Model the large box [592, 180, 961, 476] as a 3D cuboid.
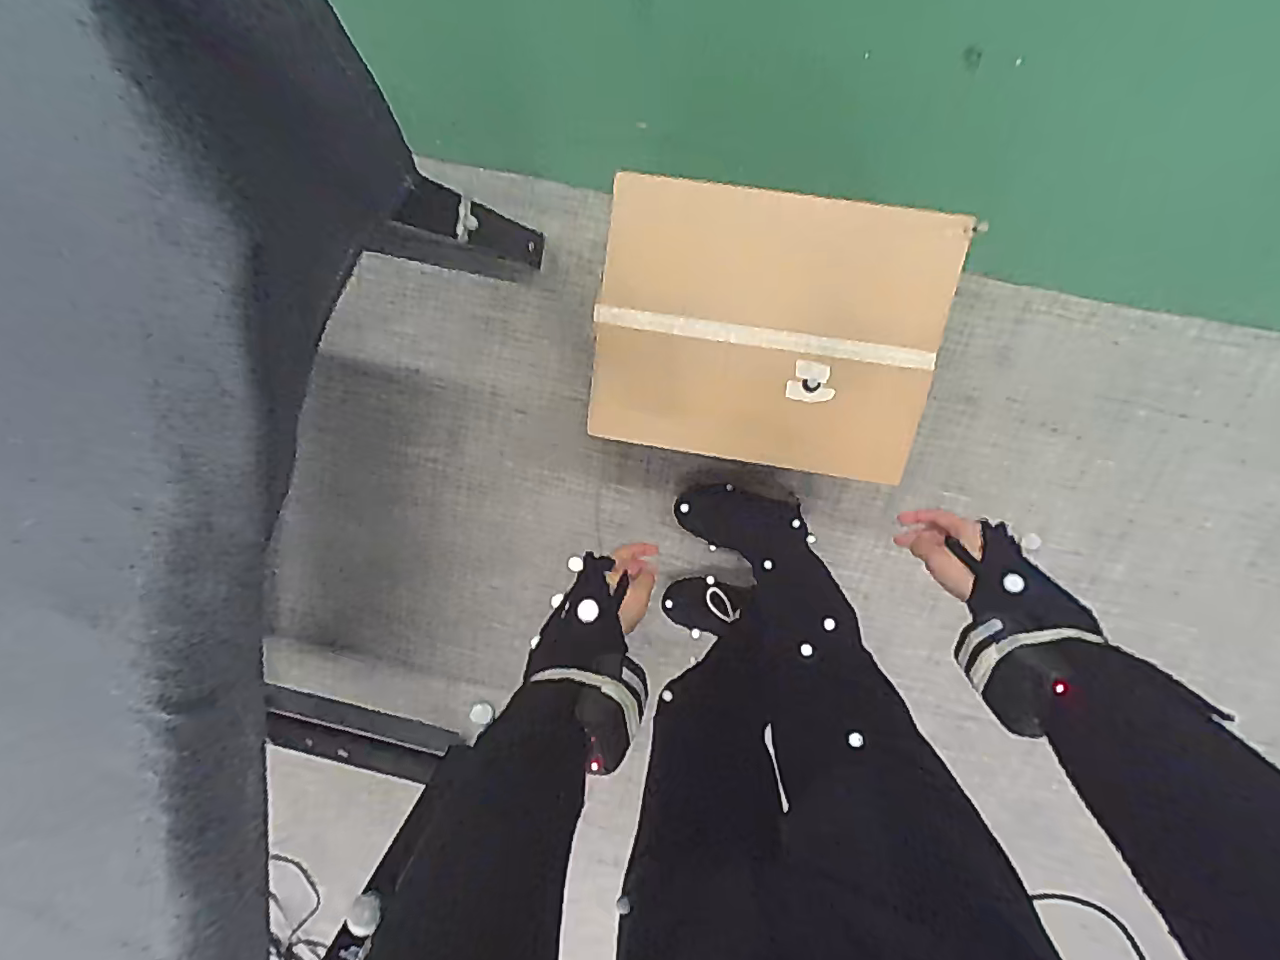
[{"bbox_3d":[0.161,-0.214,0.801,0.408,0.320,0.320,9,106,3],"label":"large box"}]
